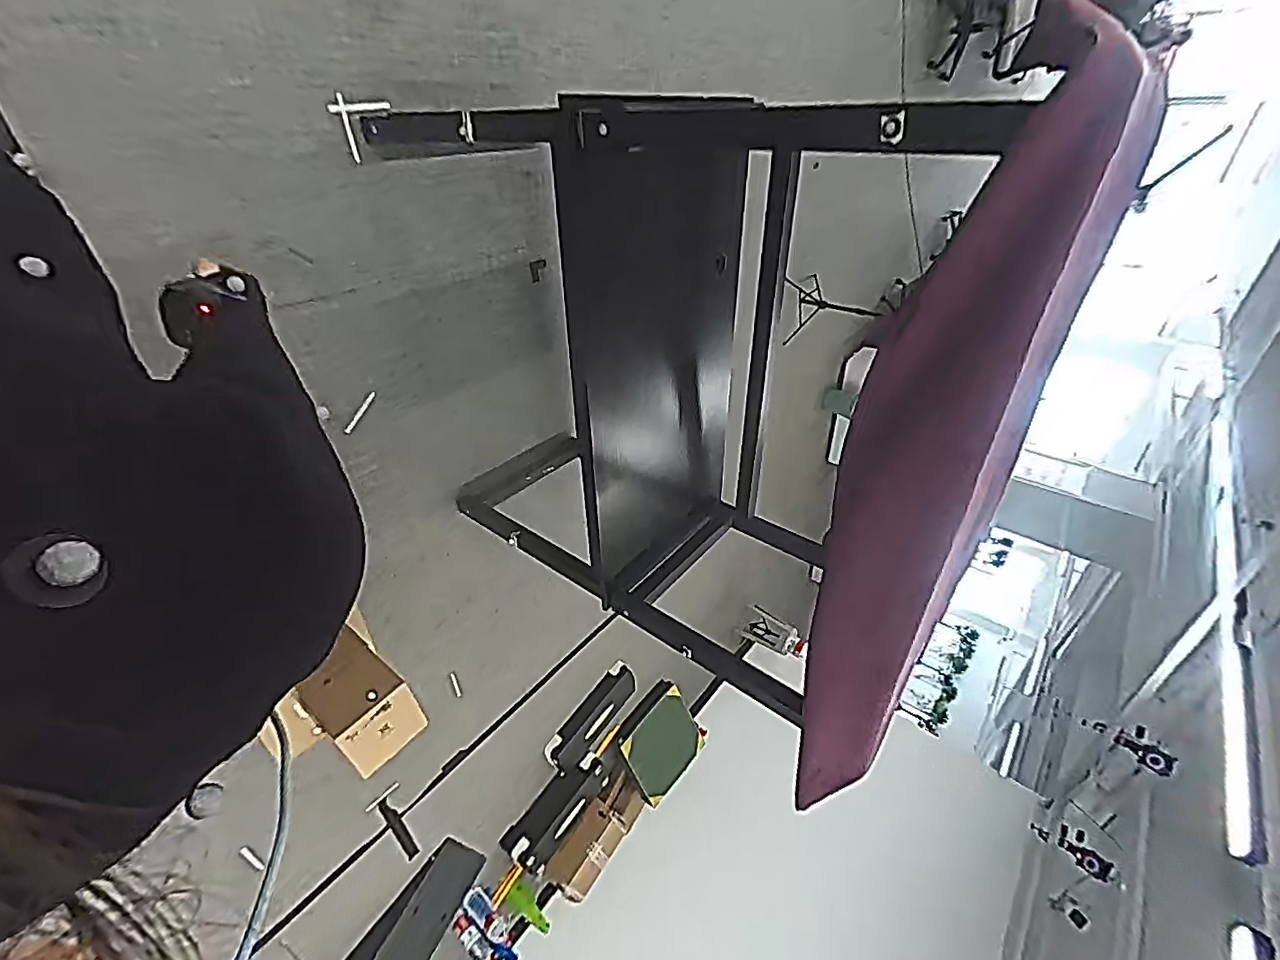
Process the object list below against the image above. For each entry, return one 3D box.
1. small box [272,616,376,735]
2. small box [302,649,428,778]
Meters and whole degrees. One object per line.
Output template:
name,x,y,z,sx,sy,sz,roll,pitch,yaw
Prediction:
small box,-0.744,0.465,1.307,0.168,0.176,0.179,-36,137,-40
small box,-0.616,0.519,1.220,0.168,0.176,0.179,-40,140,-38
